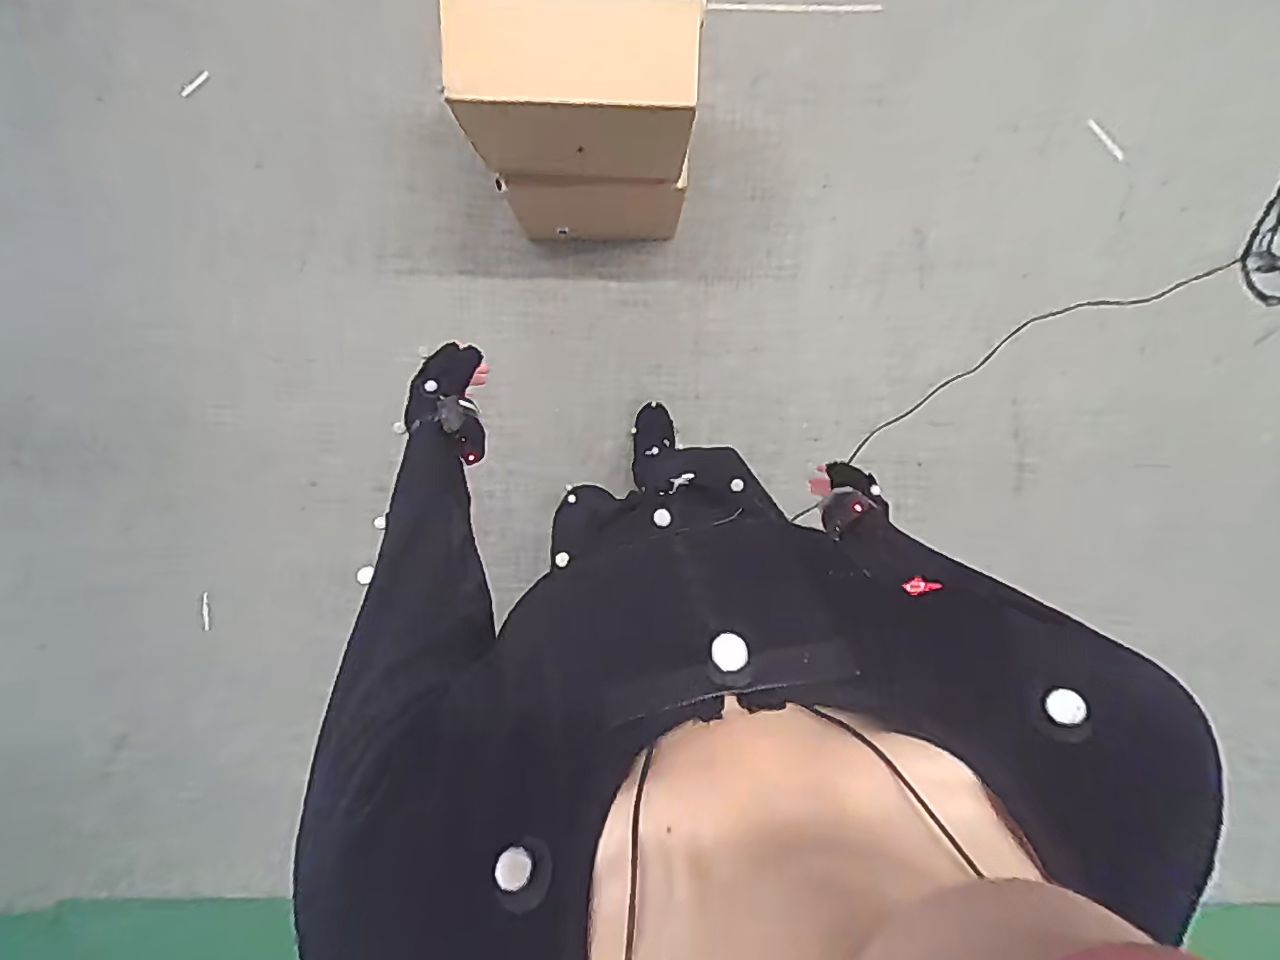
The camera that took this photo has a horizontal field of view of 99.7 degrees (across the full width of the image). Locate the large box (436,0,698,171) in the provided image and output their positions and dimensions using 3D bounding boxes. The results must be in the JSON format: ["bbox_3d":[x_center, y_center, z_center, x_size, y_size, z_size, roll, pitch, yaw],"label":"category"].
[{"bbox_3d":[-0.109,-0.769,0.962,0.408,0.320,0.320,1,100,0],"label":"large box"}]
